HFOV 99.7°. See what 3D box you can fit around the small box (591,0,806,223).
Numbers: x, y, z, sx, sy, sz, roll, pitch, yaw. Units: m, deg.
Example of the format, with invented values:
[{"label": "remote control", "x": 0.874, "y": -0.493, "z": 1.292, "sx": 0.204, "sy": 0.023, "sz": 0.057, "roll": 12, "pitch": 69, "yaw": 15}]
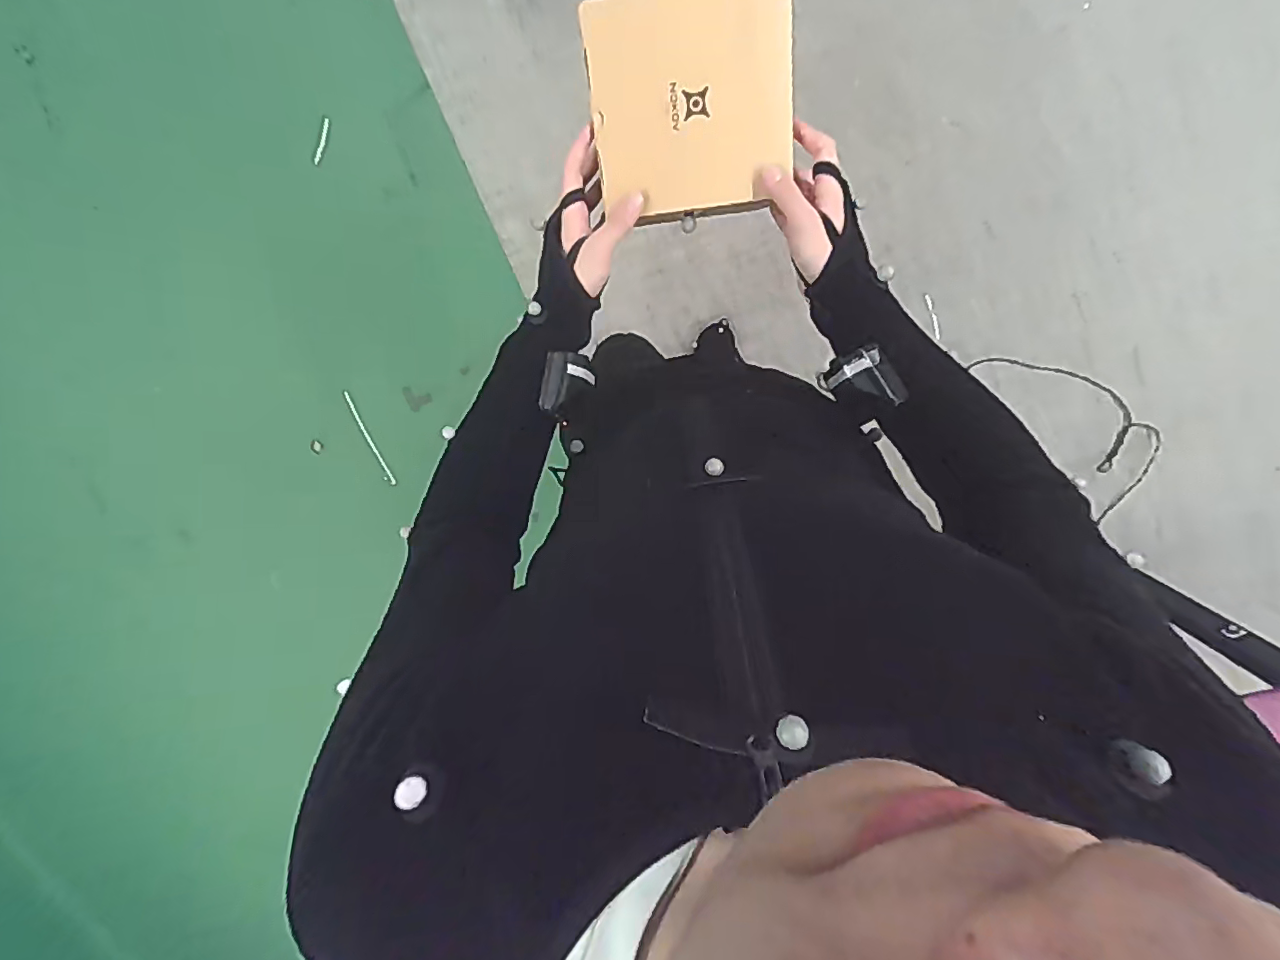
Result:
[{"label": "small box", "x": 0.056, "y": -0.356, "z": 0.538, "sx": 0.179, "sy": 0.176, "sz": 0.168, "roll": -5, "pitch": 113, "yaw": 5}]
